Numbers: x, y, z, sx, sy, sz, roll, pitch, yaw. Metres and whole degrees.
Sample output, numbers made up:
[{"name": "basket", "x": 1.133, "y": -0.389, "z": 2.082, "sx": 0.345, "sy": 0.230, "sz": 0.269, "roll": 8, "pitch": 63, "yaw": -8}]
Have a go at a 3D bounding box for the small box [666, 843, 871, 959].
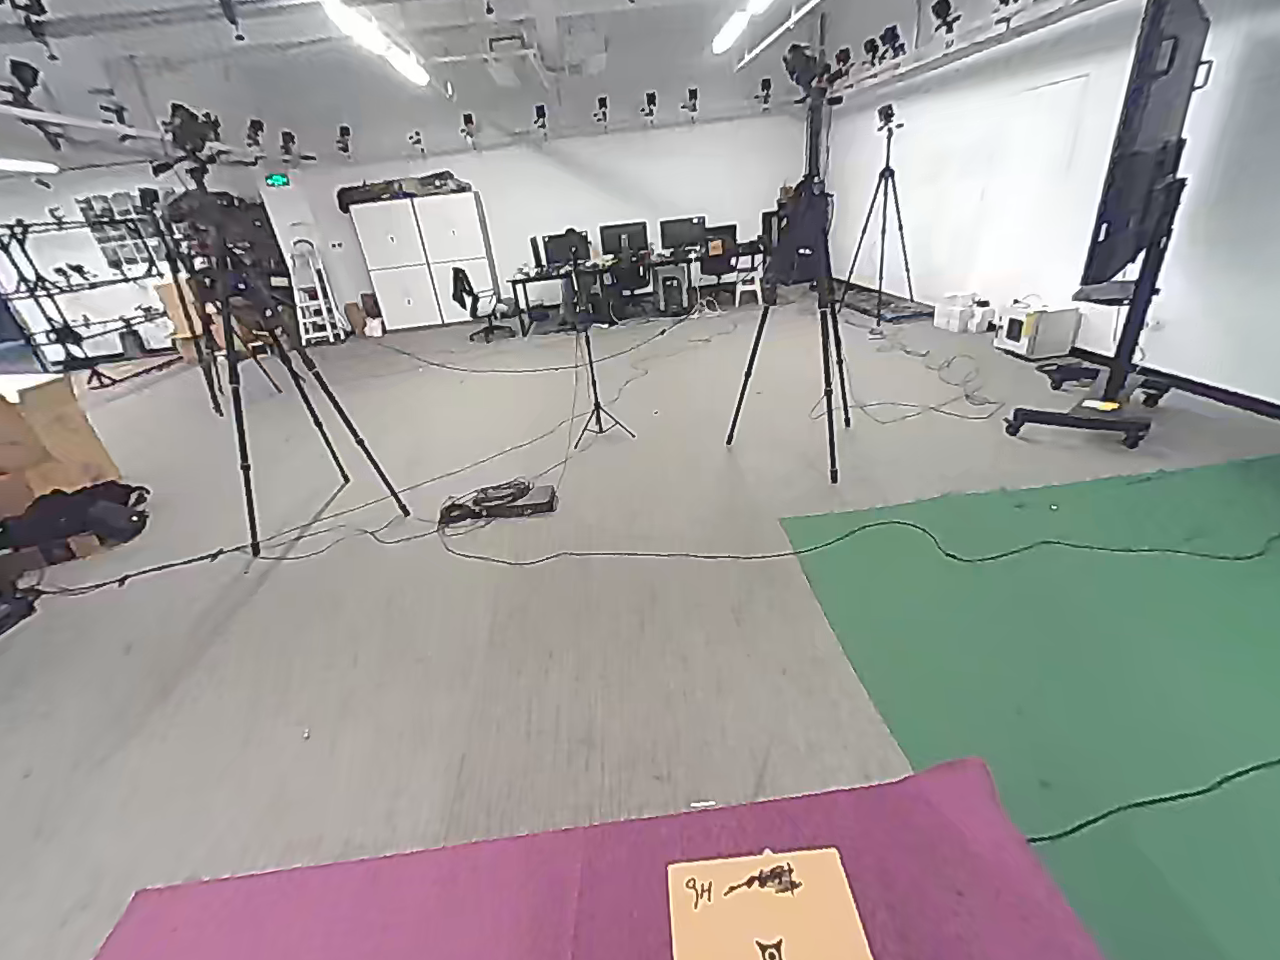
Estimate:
[{"name": "small box", "x": 0.119, "y": 0.468, "z": 0.484, "sx": 0.168, "sy": 0.176, "sz": 0.179, "roll": -8, "pitch": 30, "yaw": 2}]
